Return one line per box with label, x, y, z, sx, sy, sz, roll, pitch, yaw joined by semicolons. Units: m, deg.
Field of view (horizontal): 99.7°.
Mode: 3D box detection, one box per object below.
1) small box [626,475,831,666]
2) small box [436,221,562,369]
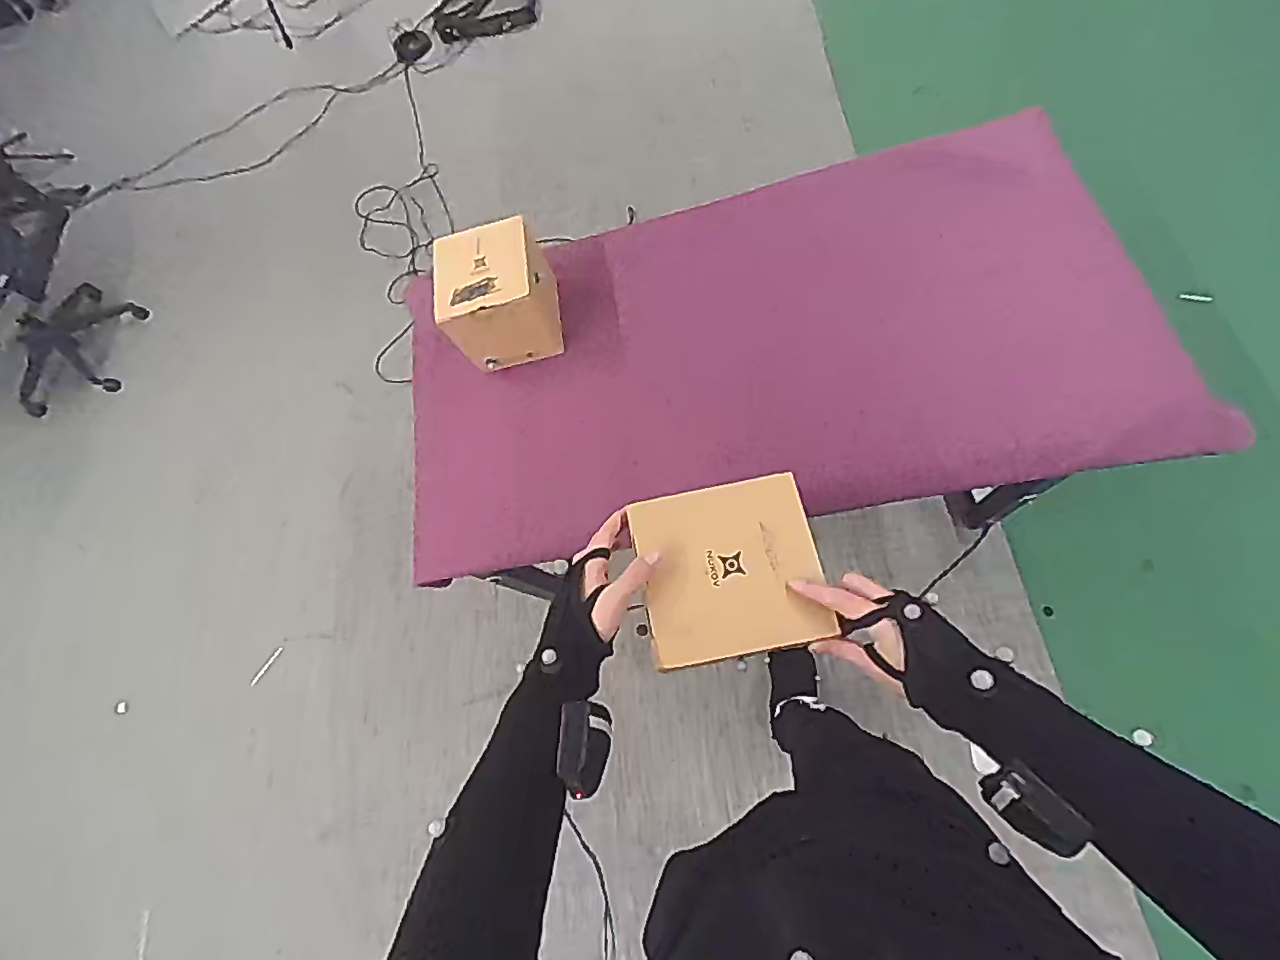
small box;0.089;0.110;0.600;0.179;0.176;0.168;-9;70;1
small box;-0.246;-0.317;0.969;0.168;0.176;0.179;-12;68;8
